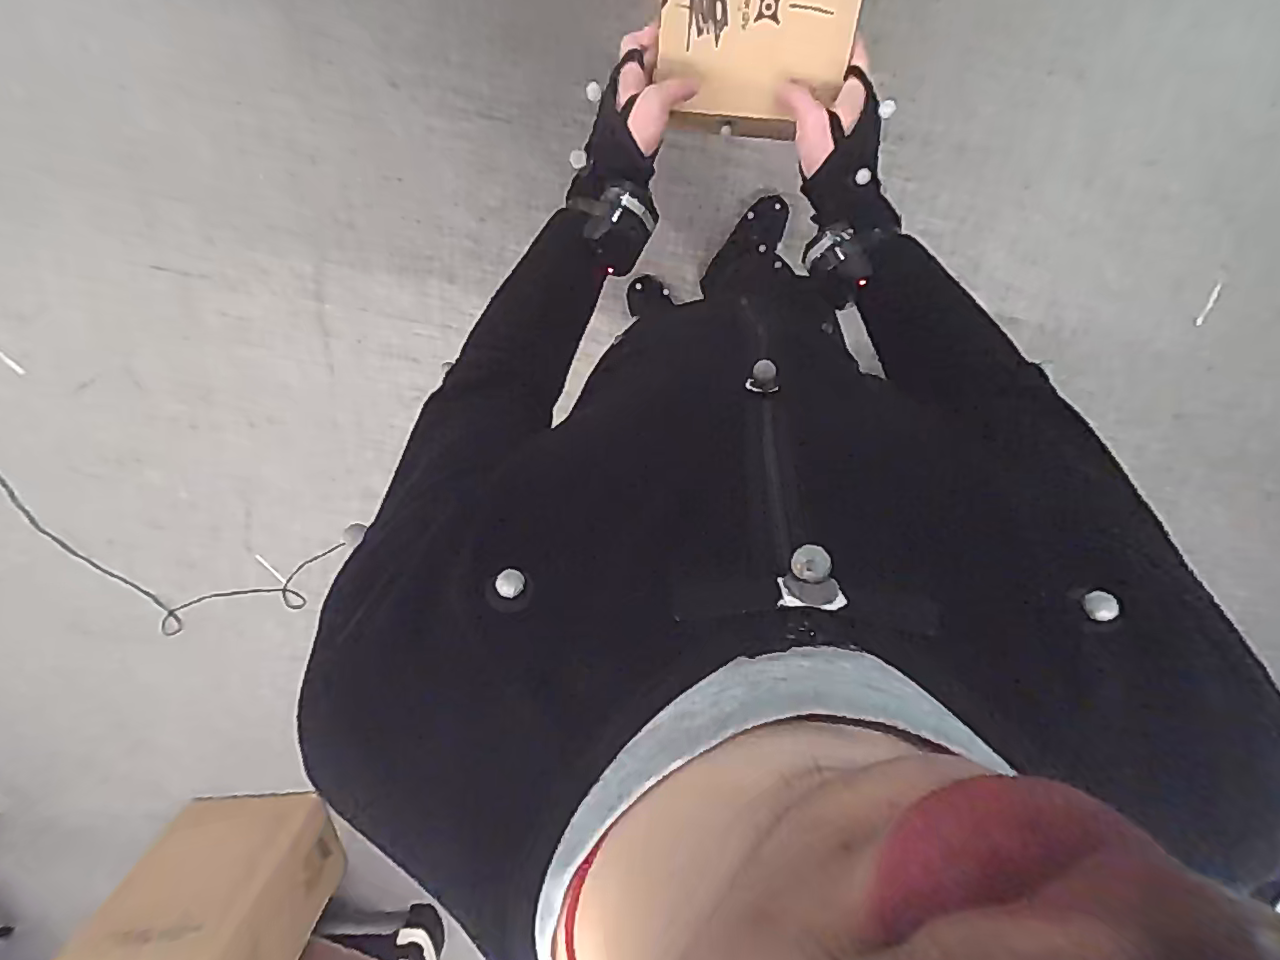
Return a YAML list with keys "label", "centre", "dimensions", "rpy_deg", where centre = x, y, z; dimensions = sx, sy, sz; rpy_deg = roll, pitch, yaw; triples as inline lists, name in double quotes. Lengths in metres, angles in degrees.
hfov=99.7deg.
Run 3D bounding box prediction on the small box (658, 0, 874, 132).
- label: "small box"
  centre: [0.110, -0.445, 0.519]
  dimensions: [0.179, 0.176, 0.168]
  rpy_deg: [4, 117, -2]
